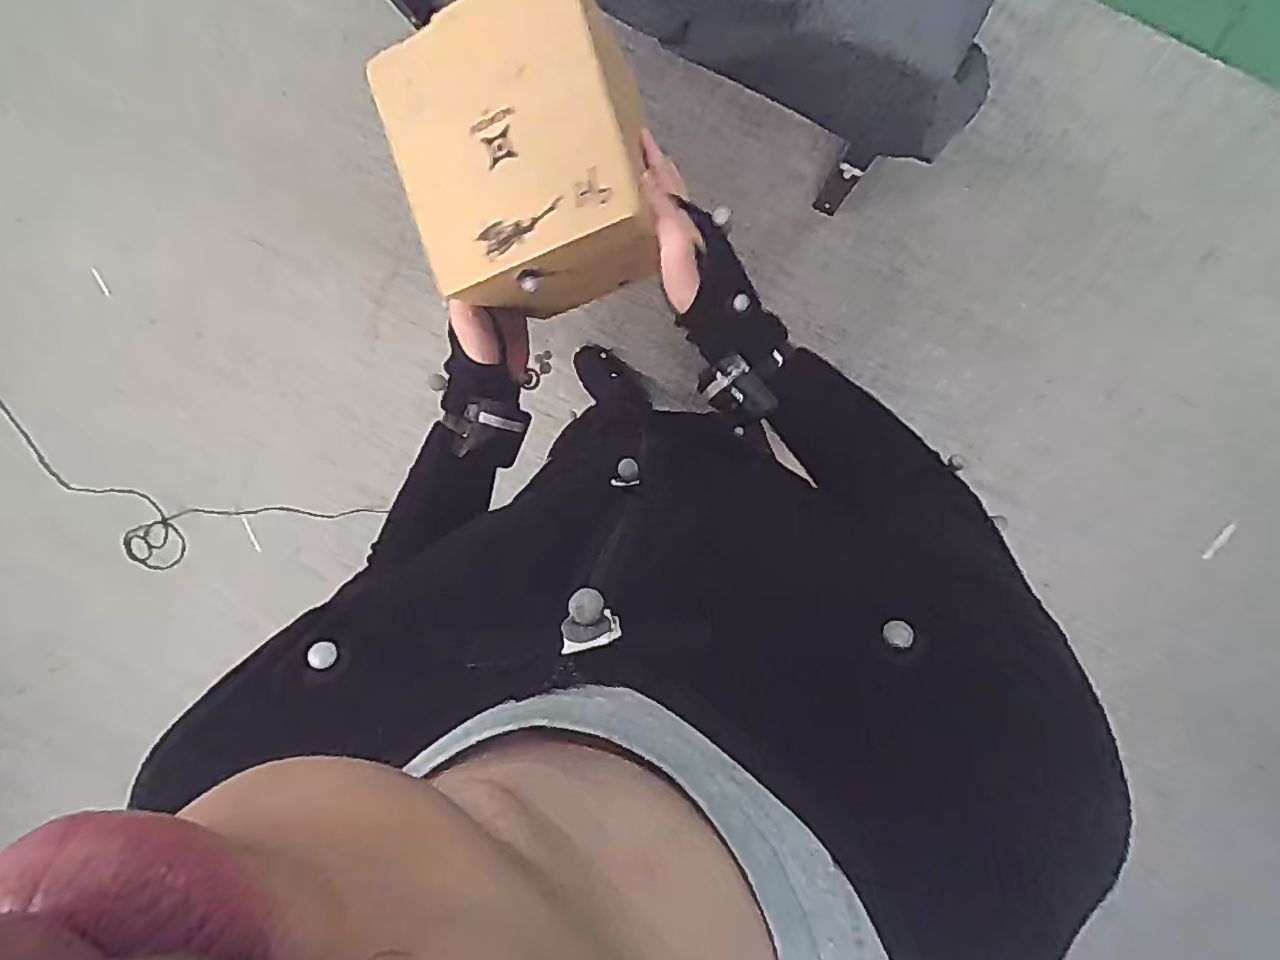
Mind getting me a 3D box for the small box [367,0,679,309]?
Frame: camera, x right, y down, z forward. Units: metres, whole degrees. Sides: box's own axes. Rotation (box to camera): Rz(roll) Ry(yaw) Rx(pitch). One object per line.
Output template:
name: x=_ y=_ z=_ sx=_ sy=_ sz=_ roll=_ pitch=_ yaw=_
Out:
small box: x=-0.077 y=-0.260 z=0.449 sx=0.168 sy=0.176 sz=0.179 roll=-16 pitch=96 yaw=16
